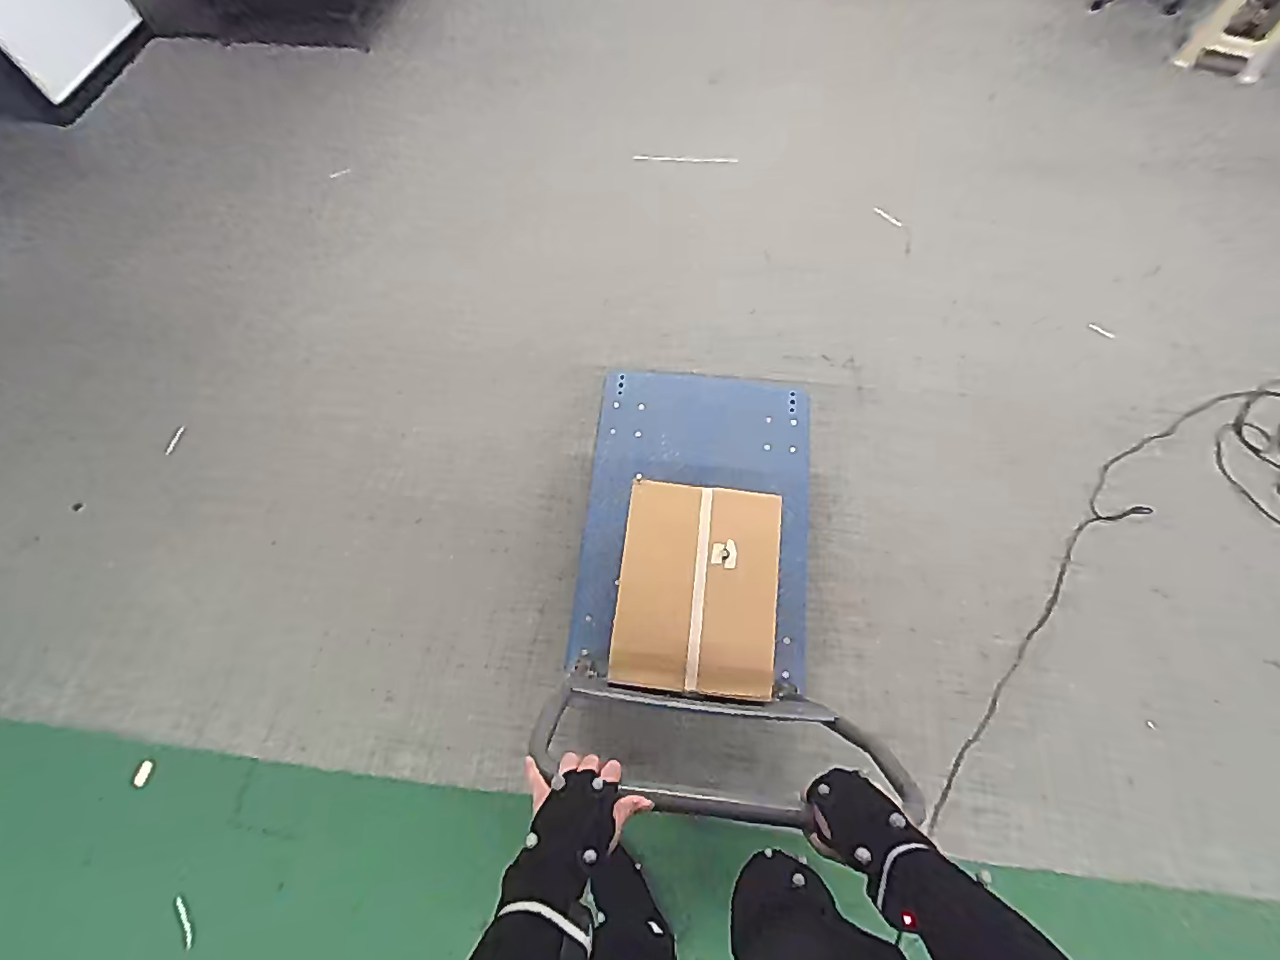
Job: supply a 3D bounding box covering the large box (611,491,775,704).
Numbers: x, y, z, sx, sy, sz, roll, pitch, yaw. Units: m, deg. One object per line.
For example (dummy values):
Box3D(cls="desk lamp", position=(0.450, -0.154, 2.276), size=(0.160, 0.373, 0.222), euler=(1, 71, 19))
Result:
Box3D(cls="large box", position=(0.116, 0.272, 1.227), size=(0.320, 0.320, 0.408), euler=(7, 72, 1))
